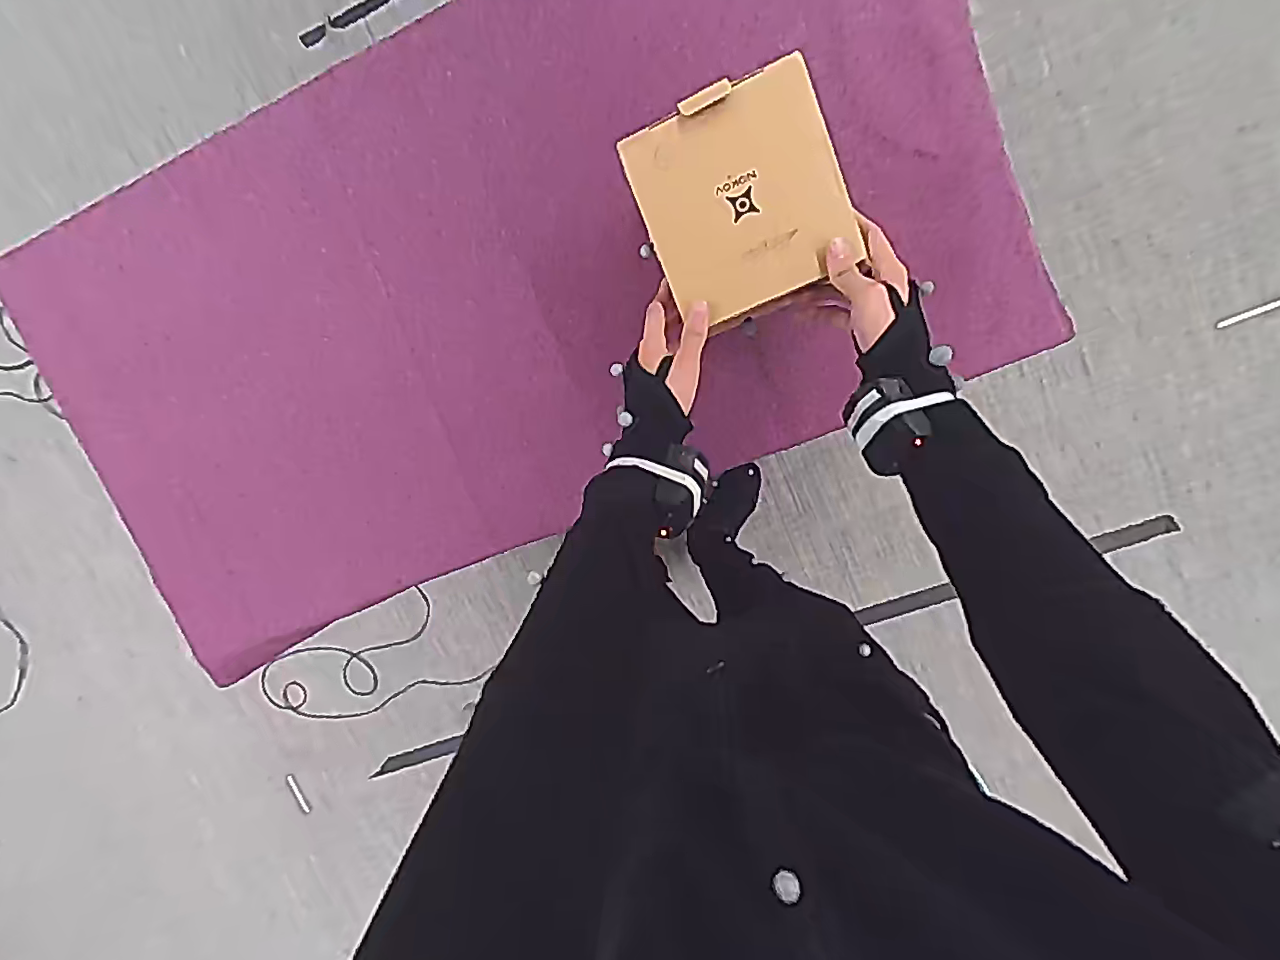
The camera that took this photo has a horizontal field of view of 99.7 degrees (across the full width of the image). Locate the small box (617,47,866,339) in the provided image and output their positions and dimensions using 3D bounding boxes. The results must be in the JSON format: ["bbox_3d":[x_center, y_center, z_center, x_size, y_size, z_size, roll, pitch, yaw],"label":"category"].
[{"bbox_3d":[0.092,-0.253,0.530,0.168,0.176,0.179,-20,98,11],"label":"small box"}]
